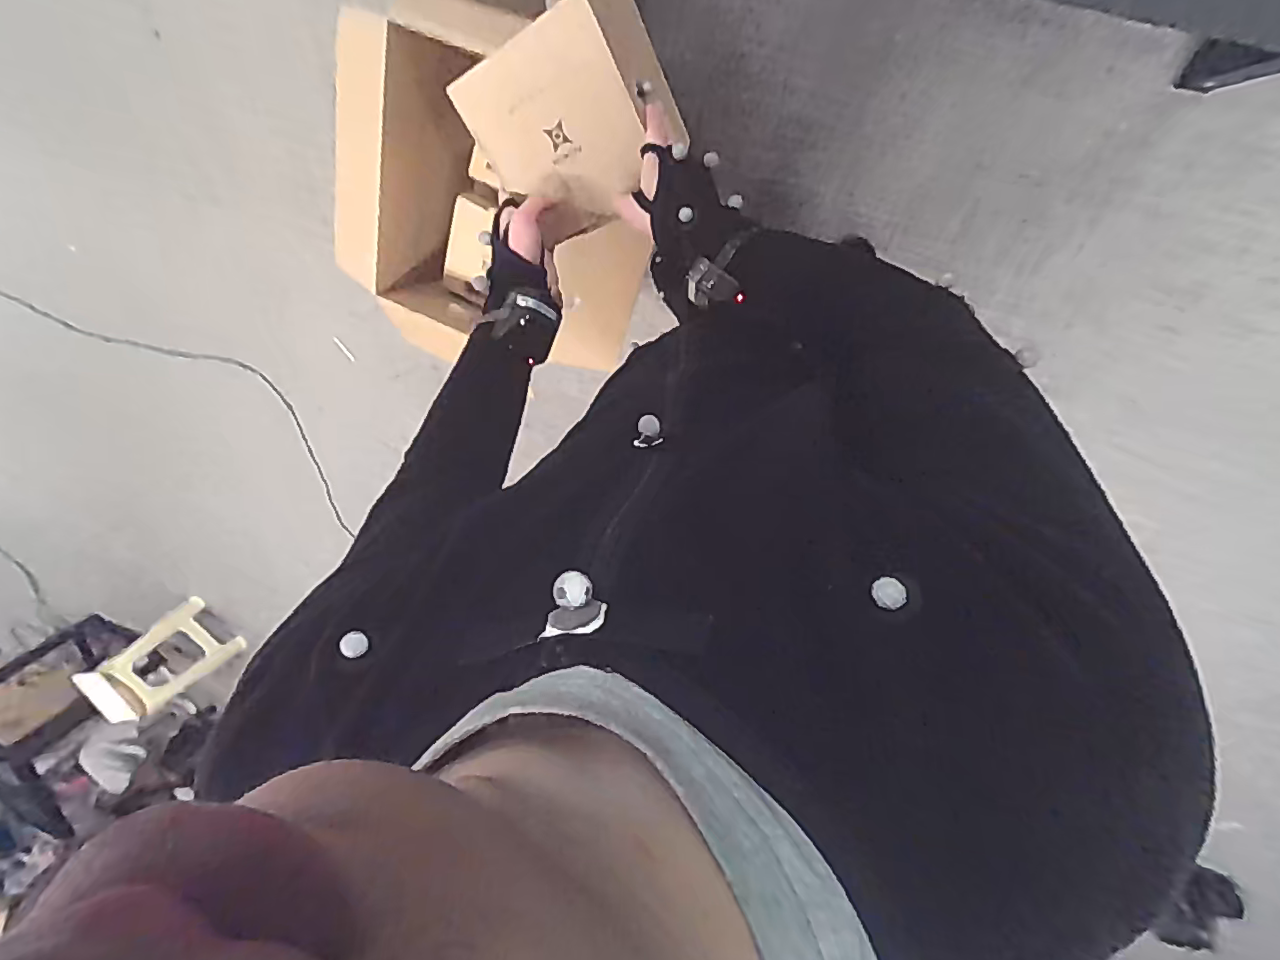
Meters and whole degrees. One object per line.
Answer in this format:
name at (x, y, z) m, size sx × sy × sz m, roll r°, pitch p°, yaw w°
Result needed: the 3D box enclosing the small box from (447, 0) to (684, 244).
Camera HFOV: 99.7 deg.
small box at (-0.064, -0.401, 0.590) m, size 0.168 × 0.176 × 0.179 m, roll -14°, pitch 129°, yaw 27°
